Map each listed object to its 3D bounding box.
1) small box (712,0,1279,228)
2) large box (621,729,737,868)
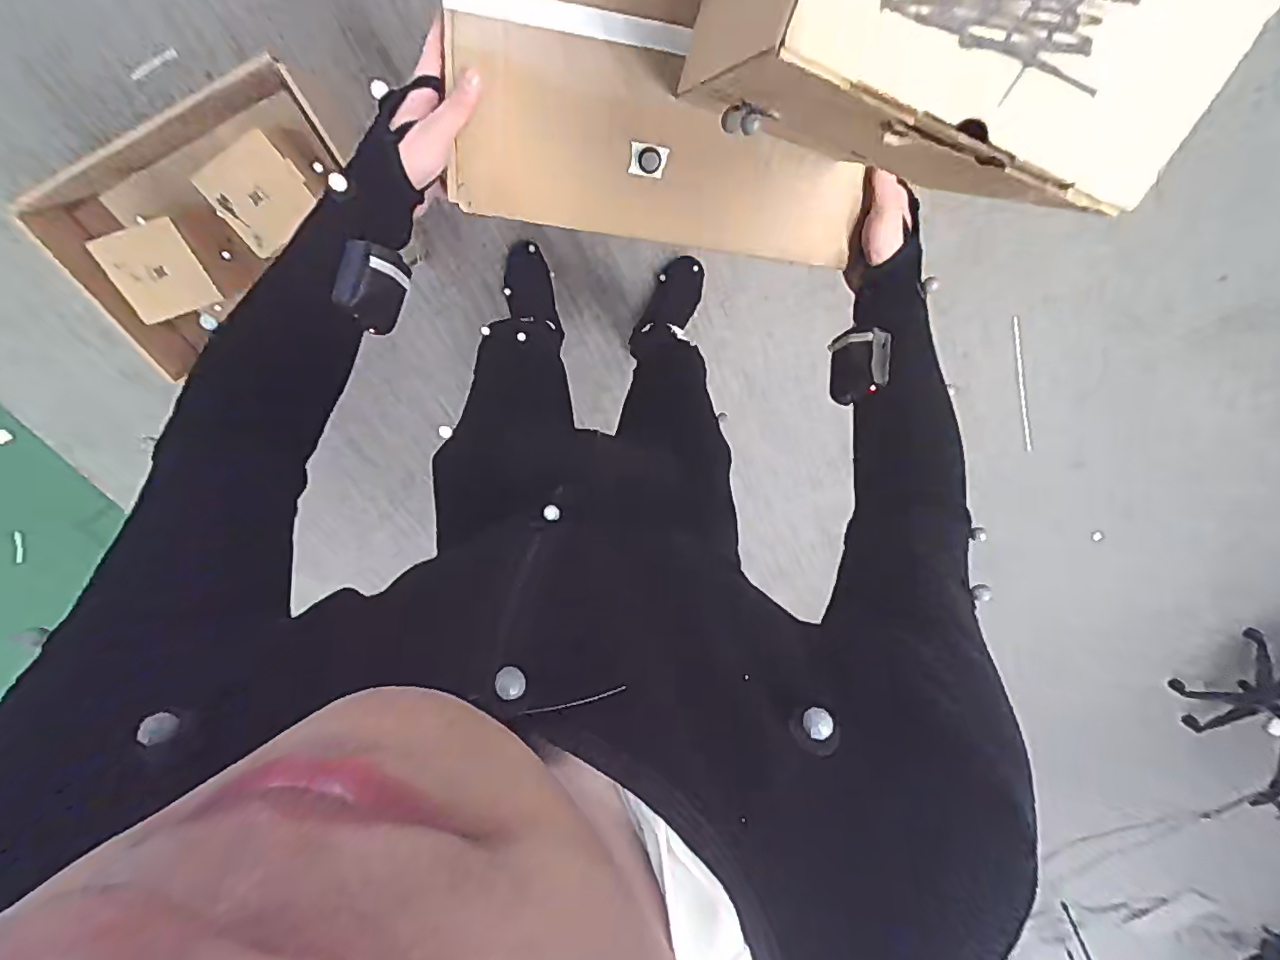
[{"bbox_3d":[0.141,-0.230,0.223,0.168,0.176,0.179,14,118,-14],"label":"small box"},{"bbox_3d":[0.153,1.315,2.239,0.320,0.320,0.408,-25,120,8],"label":"large box"}]
